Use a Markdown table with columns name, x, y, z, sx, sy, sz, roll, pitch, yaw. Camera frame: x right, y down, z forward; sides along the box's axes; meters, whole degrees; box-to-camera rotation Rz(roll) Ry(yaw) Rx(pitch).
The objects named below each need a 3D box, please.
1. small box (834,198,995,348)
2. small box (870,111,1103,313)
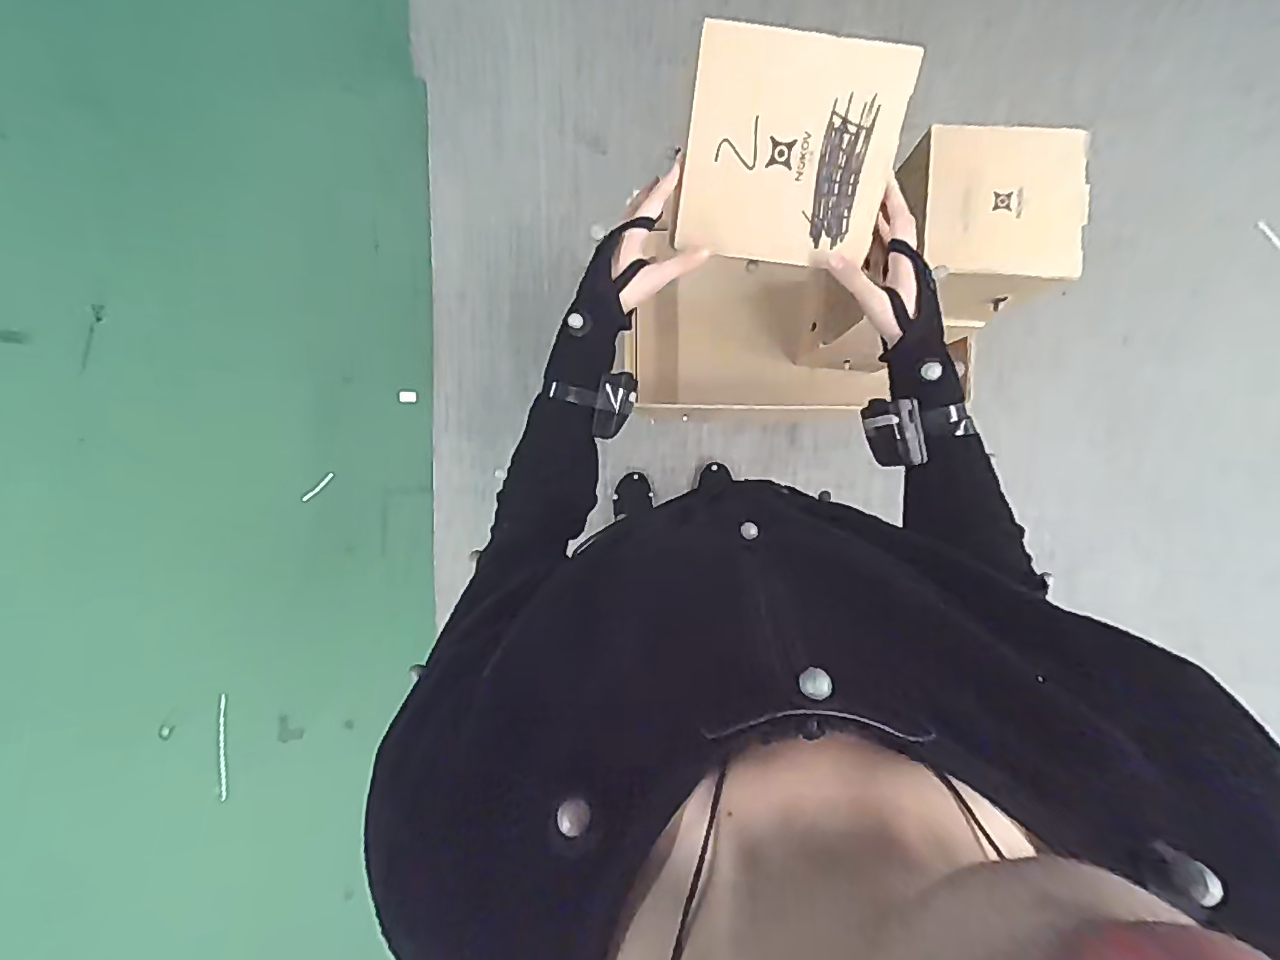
| name | x | y | z | sx | sy | sz | roll | pitch | yaw |
| --- | --- | --- | --- | --- | --- | --- | --- | --- | --- |
| small box | 0.409 | -0.305 | 0.824 | 0.179 | 0.176 | 0.168 | 4 | 91 | 2 |
| small box | 0.406 | -0.312 | 0.661 | 0.179 | 0.176 | 0.168 | 4 | 90 | 3 |
